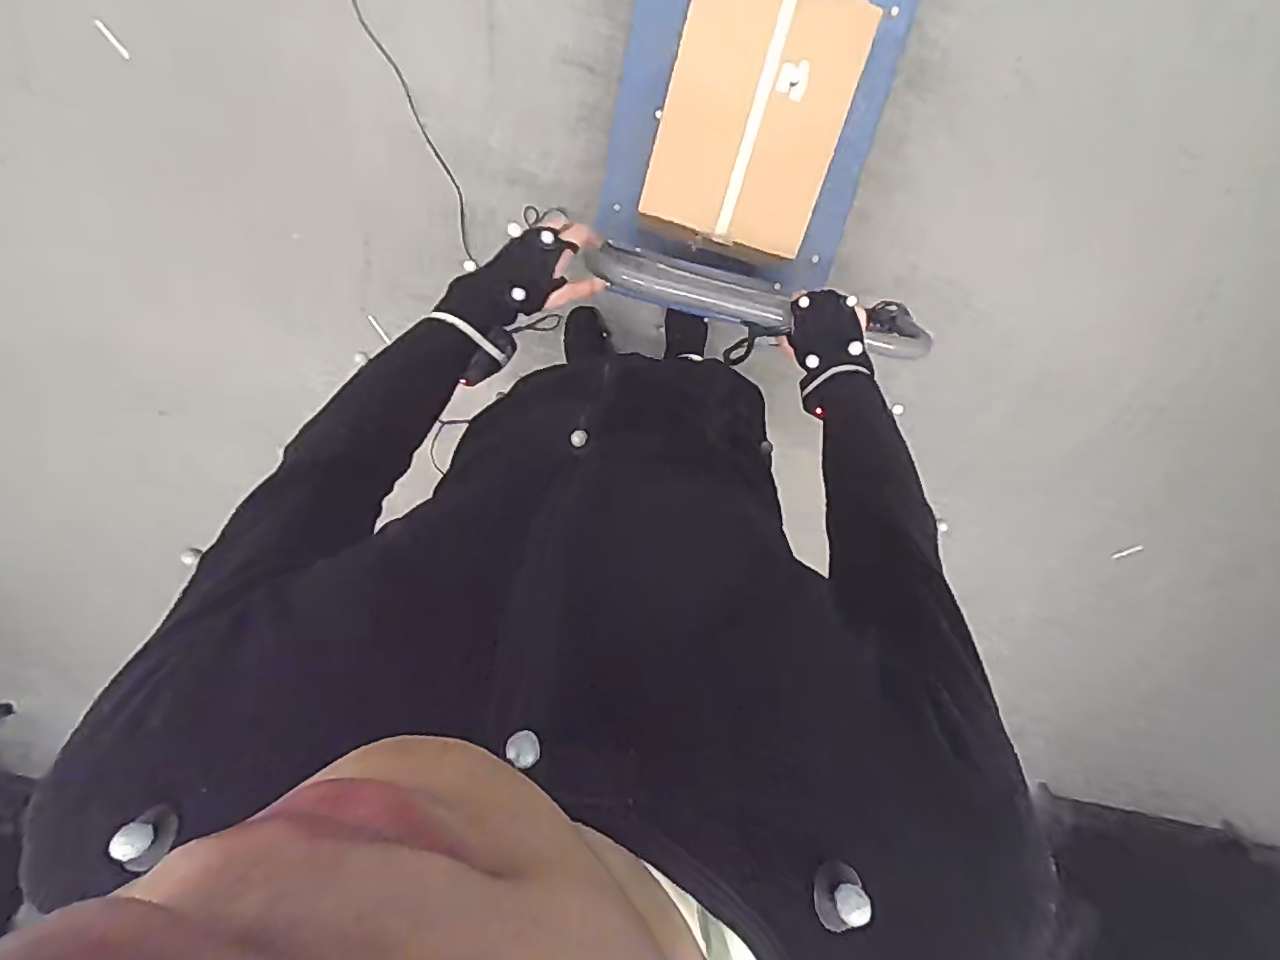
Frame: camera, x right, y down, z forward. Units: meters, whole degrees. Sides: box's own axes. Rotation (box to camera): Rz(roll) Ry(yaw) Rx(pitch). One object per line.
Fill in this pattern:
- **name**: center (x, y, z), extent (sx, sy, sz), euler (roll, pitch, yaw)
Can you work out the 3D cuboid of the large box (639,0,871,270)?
- **large box**: center (0.193, -0.677, 1.096), extent (0.320, 0.320, 0.408), euler (15, 108, -6)
